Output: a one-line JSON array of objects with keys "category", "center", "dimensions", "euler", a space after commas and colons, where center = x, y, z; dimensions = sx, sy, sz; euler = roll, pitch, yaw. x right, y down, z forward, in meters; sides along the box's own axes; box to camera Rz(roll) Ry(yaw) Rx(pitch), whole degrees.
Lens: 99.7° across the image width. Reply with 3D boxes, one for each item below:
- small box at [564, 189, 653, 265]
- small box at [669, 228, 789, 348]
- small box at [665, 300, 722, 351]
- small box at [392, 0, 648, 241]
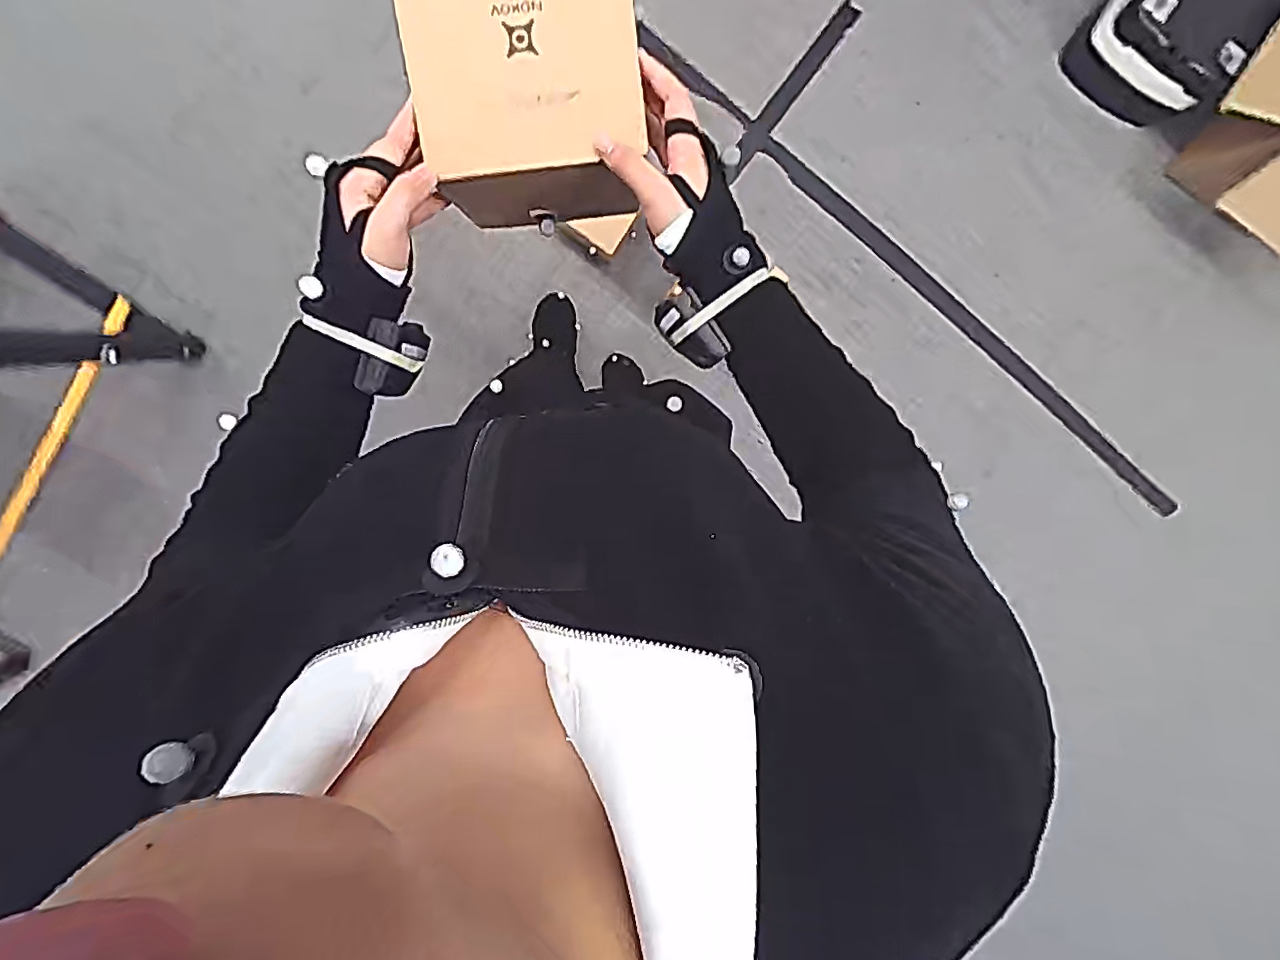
[{"category": "small box", "center": [-0.088, -0.623, 1.257], "dimensions": [0.179, 0.176, 0.168], "euler": [34, 100, -9]}, {"category": "small box", "center": [0.178, -0.398, 1.156], "dimensions": [0.179, 0.176, 0.168], "euler": [36, 100, -11]}, {"category": "small box", "center": [0.175, -0.436, 1.317], "dimensions": [0.168, 0.176, 0.179], "euler": [38, 101, -11]}, {"category": "small box", "center": [-0.089, -0.321, 0.459], "dimensions": [0.168, 0.176, 0.179], "euler": [-8, 103, 0]}]
